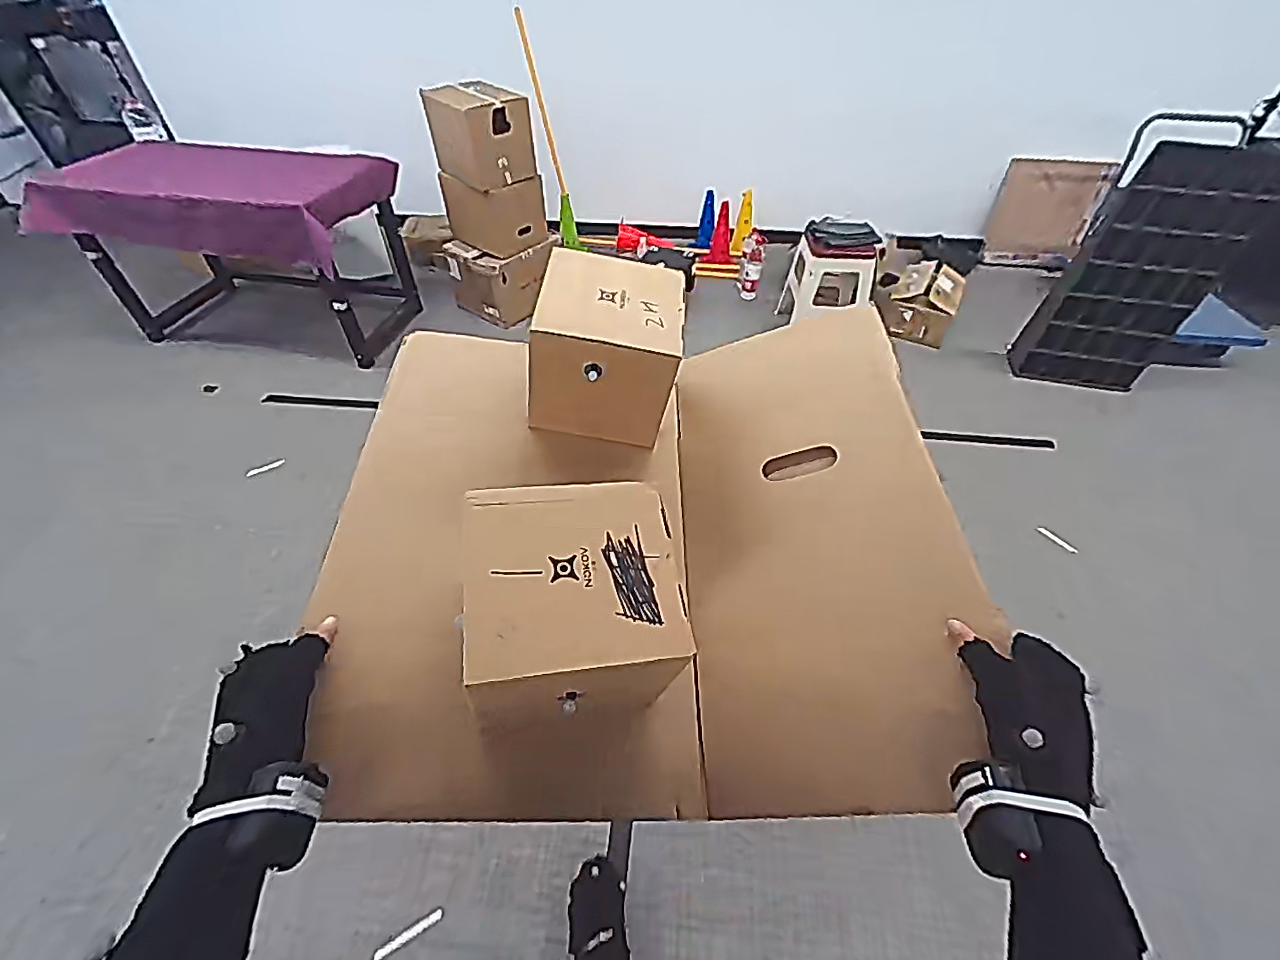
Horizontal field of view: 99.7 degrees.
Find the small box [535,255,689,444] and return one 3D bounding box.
[{"bbox_3d":[-0.041,-0.168,0.729,0.179,0.176,0.168,10,54,-6],"label":"small box"}]

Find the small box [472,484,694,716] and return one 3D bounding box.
[{"bbox_3d":[-0.066,0.118,0.524,0.179,0.176,0.168,-3,57,-13],"label":"small box"}]
